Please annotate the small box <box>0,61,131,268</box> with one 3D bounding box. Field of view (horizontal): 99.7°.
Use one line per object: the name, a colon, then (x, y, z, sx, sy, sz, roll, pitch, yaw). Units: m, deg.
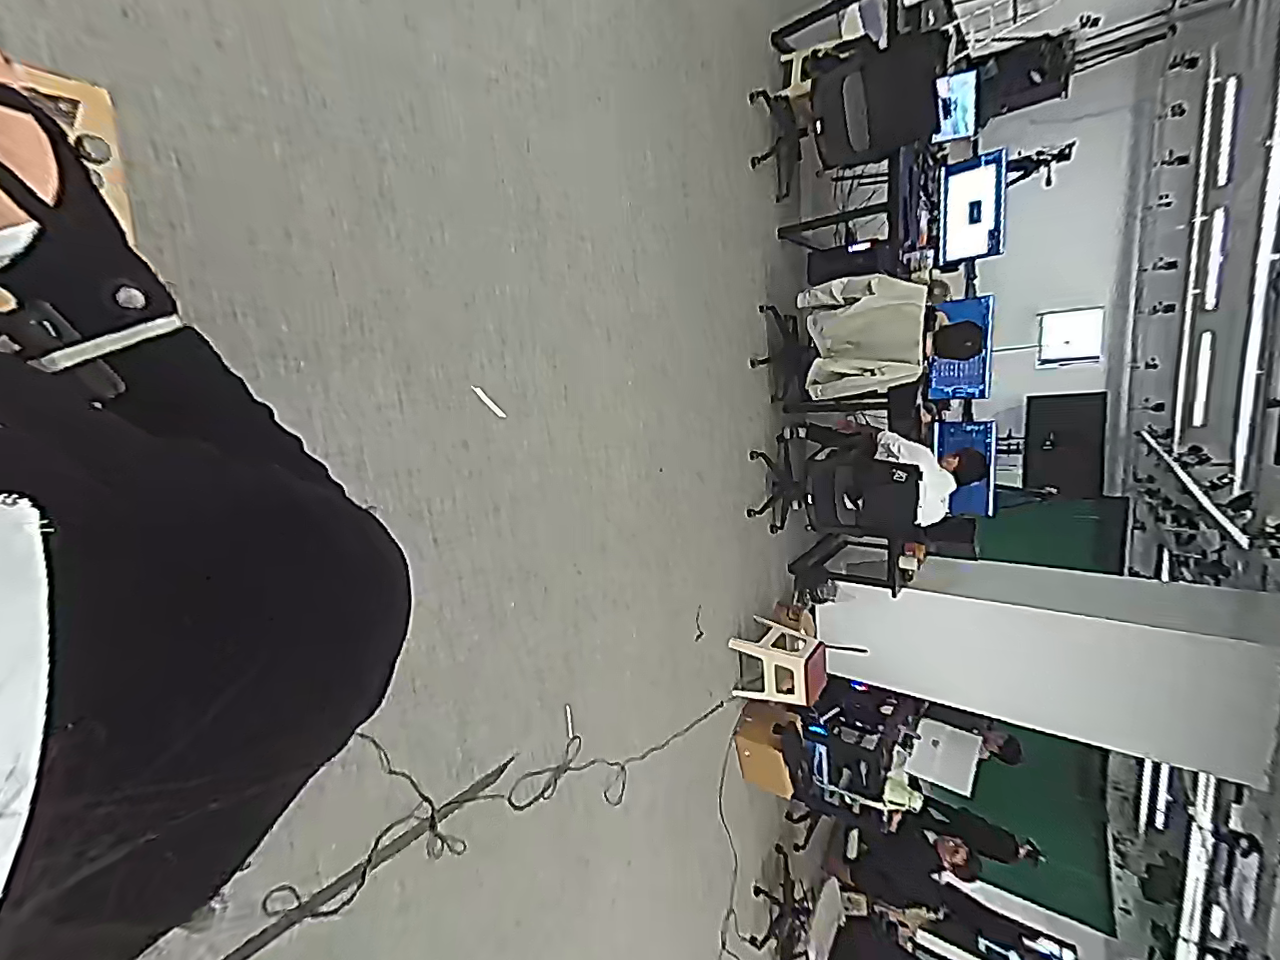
small box: (-0.735, -0.360, 0.626, 0.168, 0.176, 0.179, -14, 106, -54)
